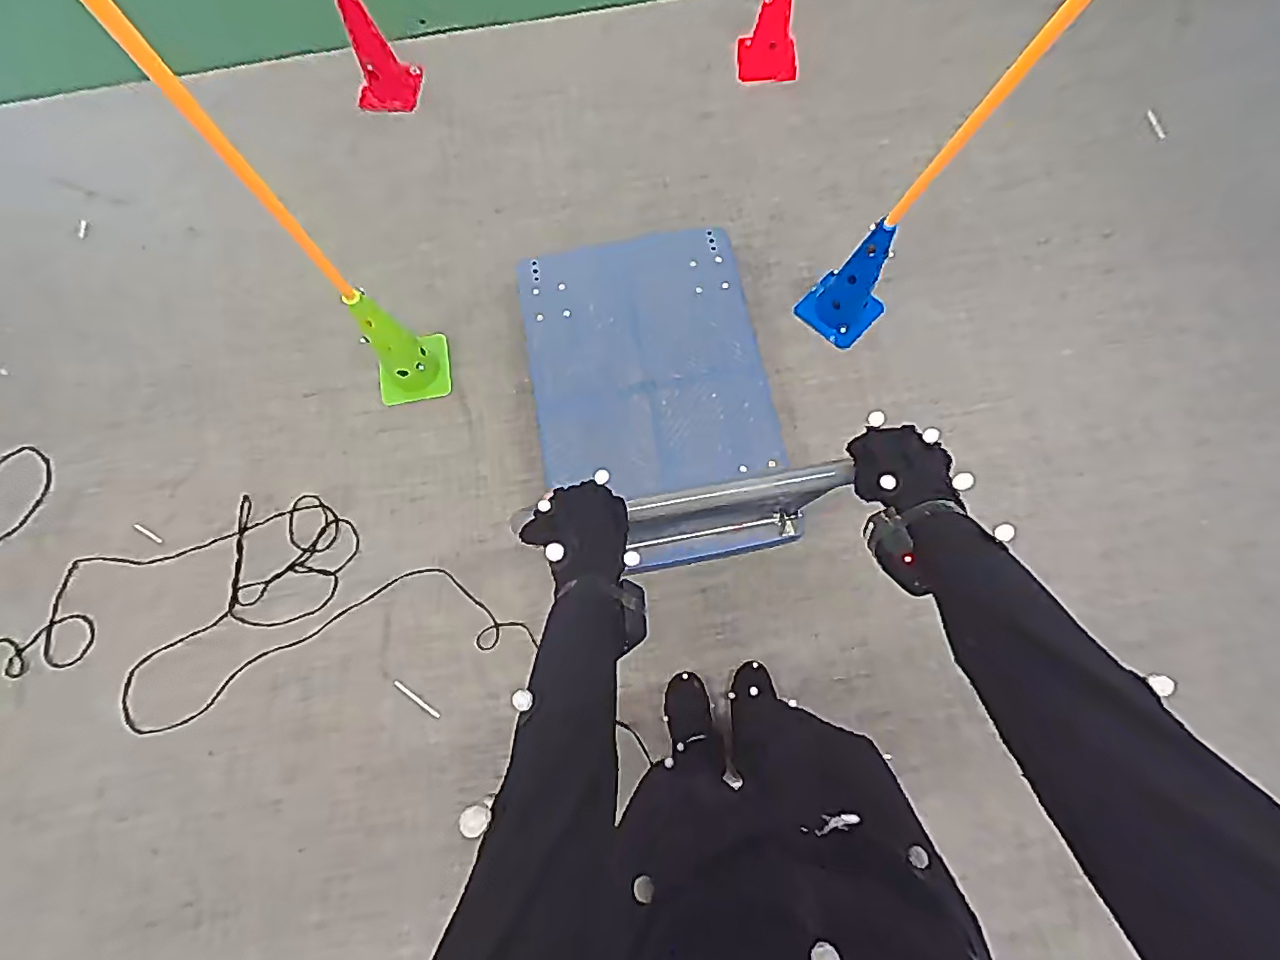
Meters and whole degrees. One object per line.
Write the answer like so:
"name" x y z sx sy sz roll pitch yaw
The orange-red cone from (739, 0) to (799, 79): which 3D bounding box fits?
"orange-red cone" 0.428 -1.480 1.667 0.198 0.360 0.199 1 76 3
